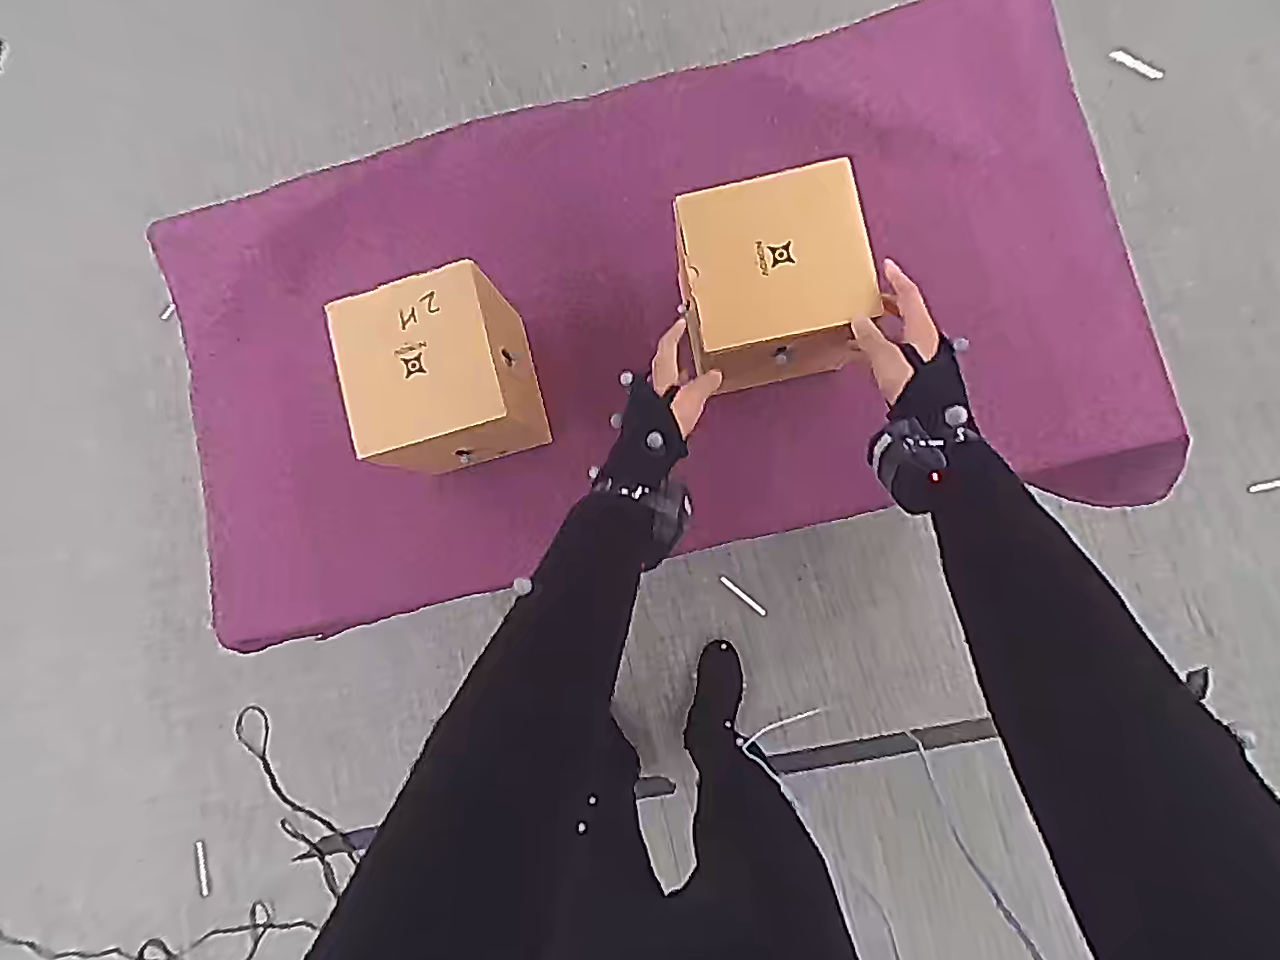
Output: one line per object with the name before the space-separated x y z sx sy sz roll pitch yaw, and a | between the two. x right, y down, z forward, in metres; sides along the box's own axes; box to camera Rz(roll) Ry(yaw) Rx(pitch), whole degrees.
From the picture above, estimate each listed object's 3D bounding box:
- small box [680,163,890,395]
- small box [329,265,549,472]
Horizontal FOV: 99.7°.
small box | 0.145 -0.204 0.597 0.179 0.176 0.168 -11 84 6
small box | -0.218 -0.112 0.629 0.168 0.176 0.179 -15 83 5
